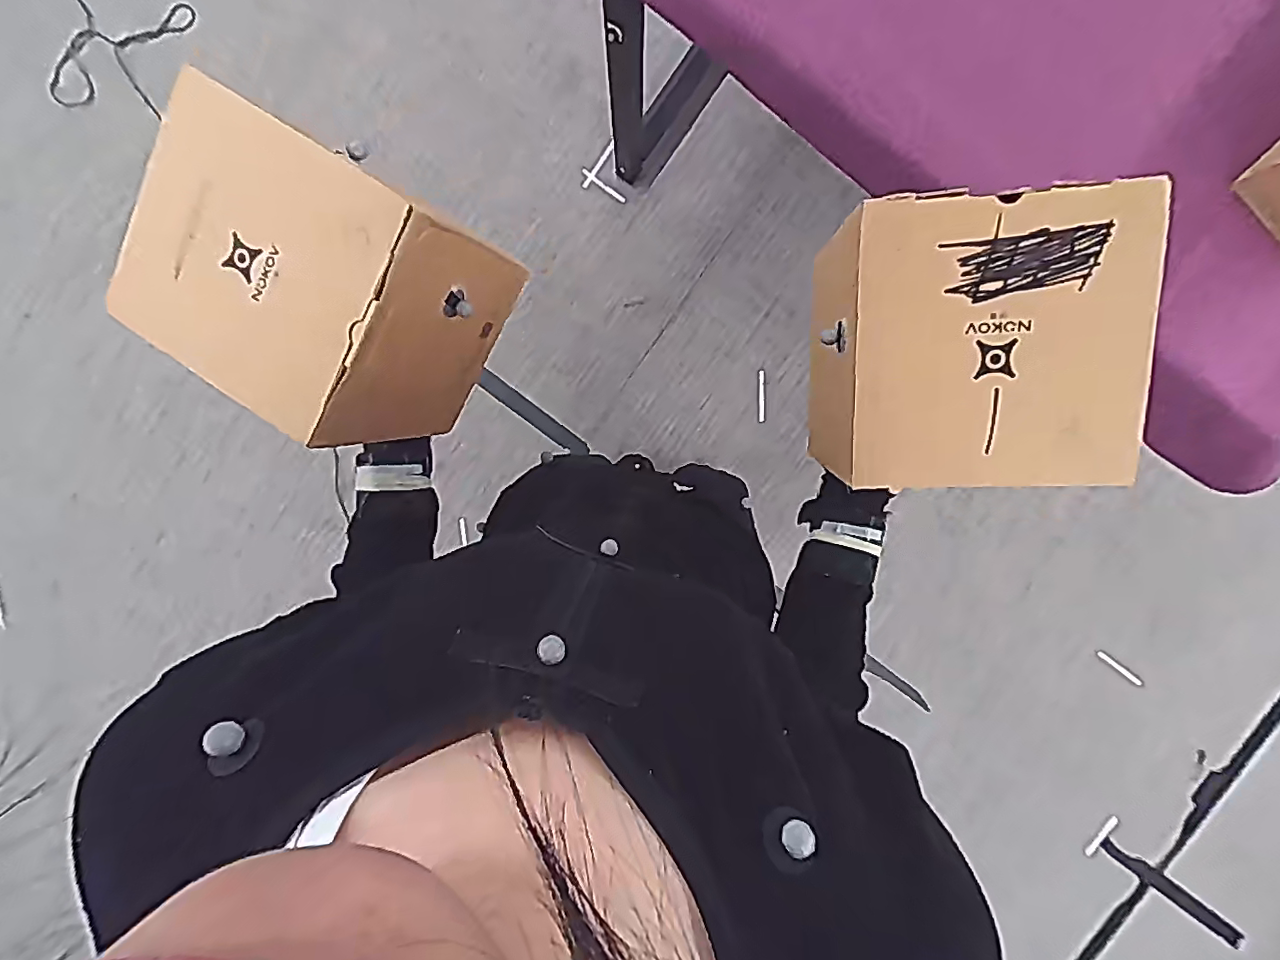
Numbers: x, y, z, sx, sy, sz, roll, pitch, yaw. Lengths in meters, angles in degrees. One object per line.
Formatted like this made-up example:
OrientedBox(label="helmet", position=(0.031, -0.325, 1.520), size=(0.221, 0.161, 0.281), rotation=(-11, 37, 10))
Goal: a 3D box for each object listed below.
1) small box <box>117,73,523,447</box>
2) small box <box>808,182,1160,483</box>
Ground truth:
OrientedBox(label="small box", position=(-0.219, -0.144, 0.411), size=(0.179, 0.176, 0.168), rotation=(32, 102, 6))
OrientedBox(label="small box", position=(0.226, -0.097, 0.407), size=(0.168, 0.176, 0.179), rotation=(-1, 100, 8))
